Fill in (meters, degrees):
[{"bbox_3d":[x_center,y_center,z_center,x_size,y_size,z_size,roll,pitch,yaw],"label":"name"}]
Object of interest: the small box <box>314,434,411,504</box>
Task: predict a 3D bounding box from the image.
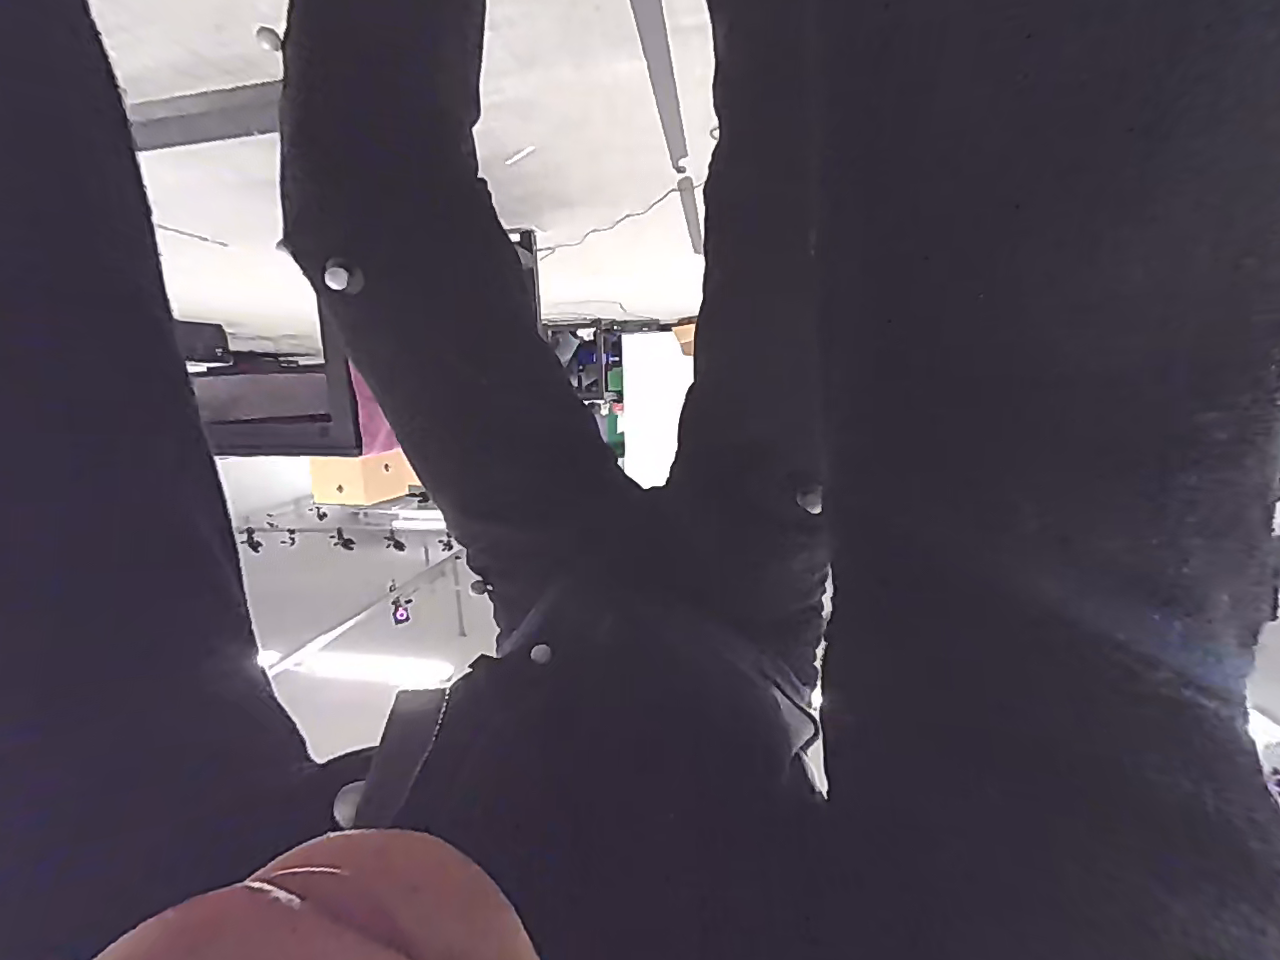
[{"bbox_3d":[-0.772,-0.034,1.504,0.179,0.176,0.168,1,-170,16],"label":"small box"}]
